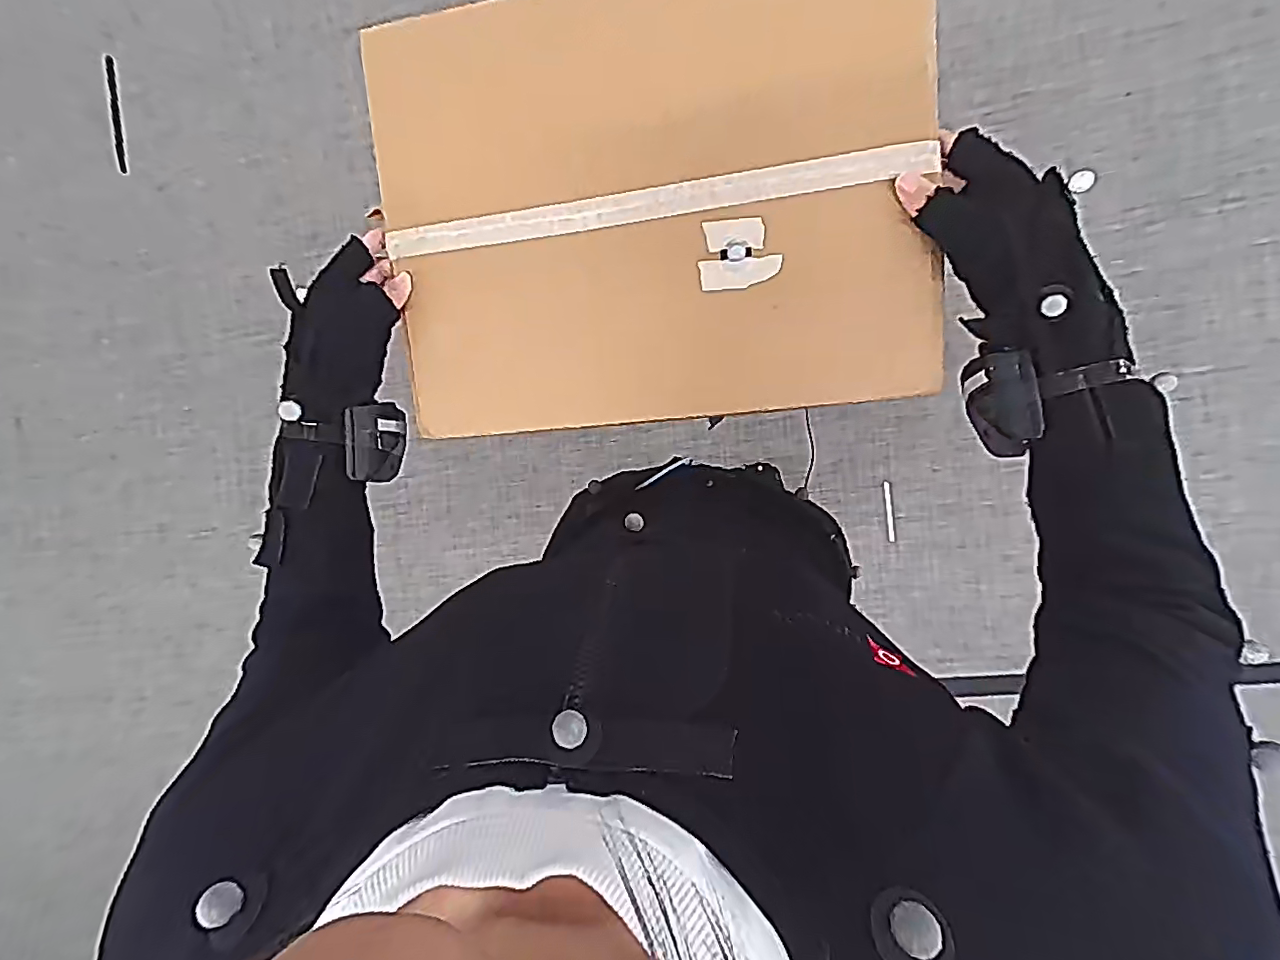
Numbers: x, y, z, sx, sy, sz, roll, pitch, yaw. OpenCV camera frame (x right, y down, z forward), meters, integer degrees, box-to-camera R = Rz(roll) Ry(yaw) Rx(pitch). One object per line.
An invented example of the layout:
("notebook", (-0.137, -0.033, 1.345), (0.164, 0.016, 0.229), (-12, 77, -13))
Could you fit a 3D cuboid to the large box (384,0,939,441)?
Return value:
("large box", (0.028, -0.222, 0.555), (0.408, 0.320, 0.320), (-5, 98, 9))
